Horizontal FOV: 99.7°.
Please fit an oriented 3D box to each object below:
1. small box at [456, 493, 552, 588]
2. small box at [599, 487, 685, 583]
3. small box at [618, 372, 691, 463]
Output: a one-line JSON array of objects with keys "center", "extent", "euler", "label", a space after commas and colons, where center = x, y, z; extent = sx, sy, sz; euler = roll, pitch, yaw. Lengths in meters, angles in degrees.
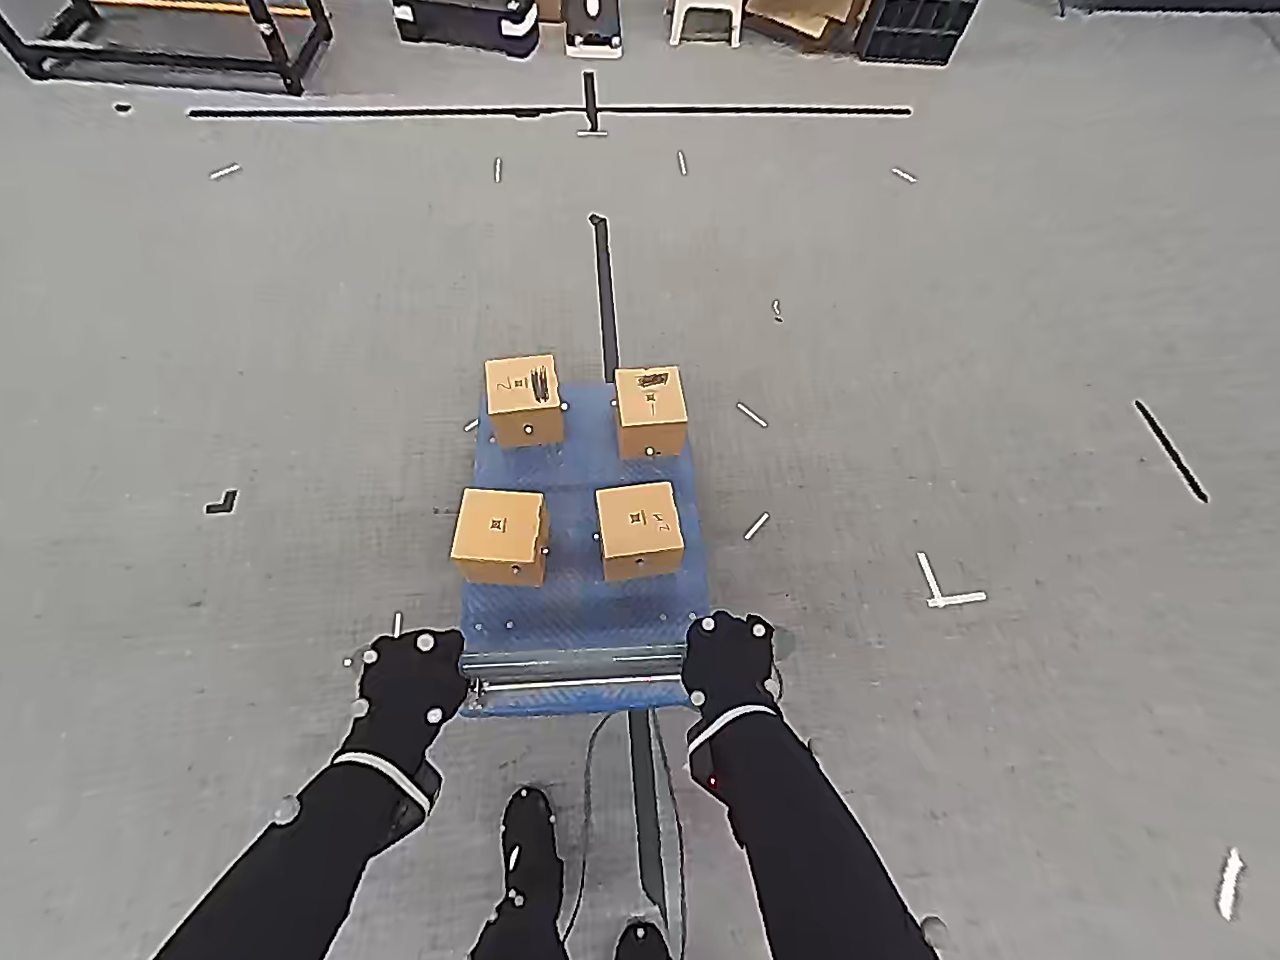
[{"center": [-0.305, 0.144, 1.246], "extent": [0.179, 0.176, 0.168], "euler": [4, 61, -3], "label": "small box"}, {"center": [0.000, 0.134, 1.270], "extent": [0.179, 0.176, 0.168], "euler": [-6, 63, -7], "label": "small box"}, {"center": [0.030, -0.163, 1.430], "extent": [0.168, 0.176, 0.179], "euler": [-5, 63, -6], "label": "small box"}]
